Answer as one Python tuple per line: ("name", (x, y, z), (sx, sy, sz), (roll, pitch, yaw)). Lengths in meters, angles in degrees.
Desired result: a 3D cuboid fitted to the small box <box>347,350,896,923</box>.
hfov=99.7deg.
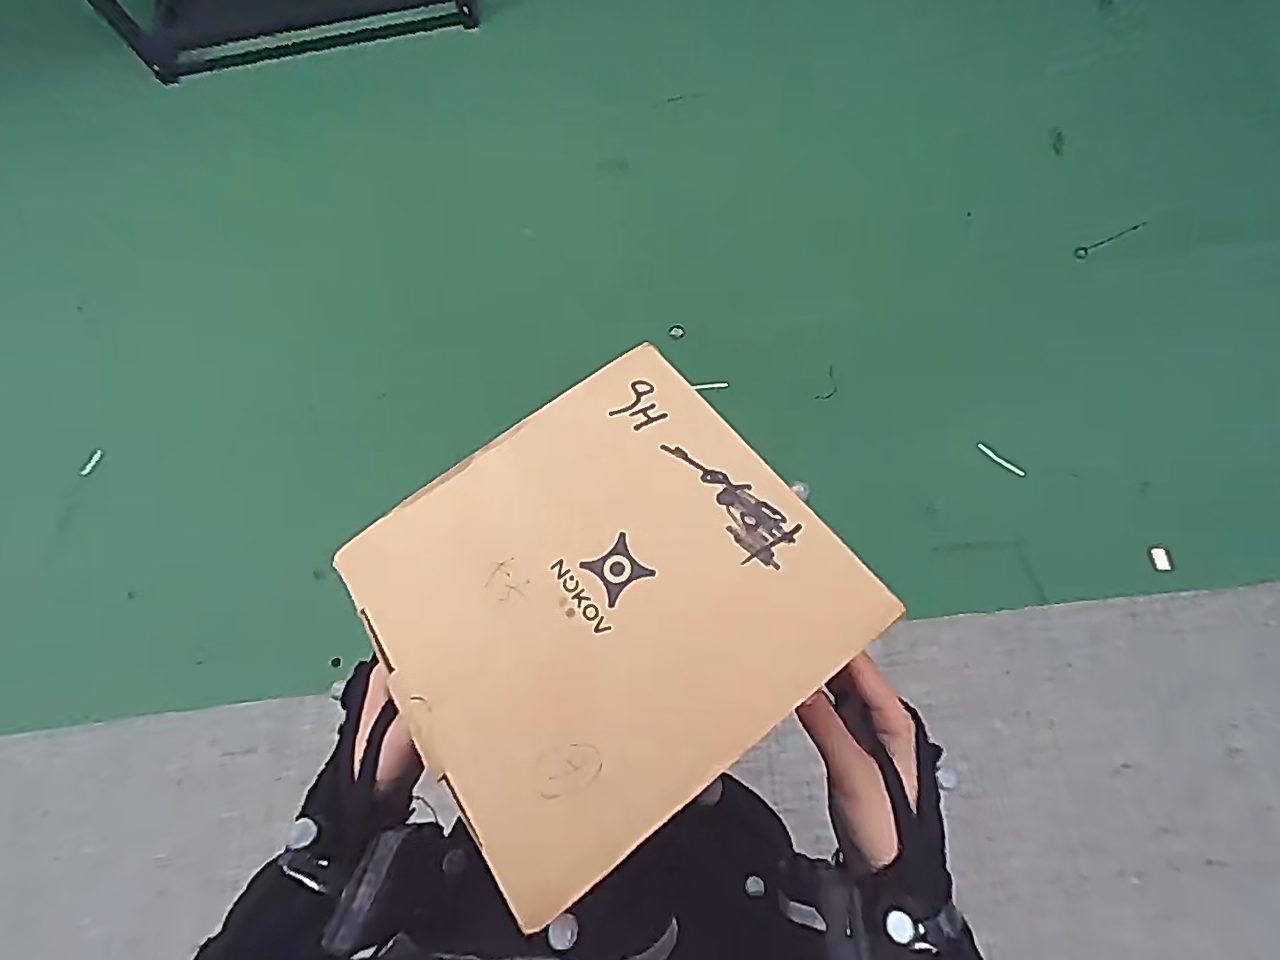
("small box", (-0.006, 0.074, 0.294), (0.179, 0.176, 0.168), (-36, 68, -9))
